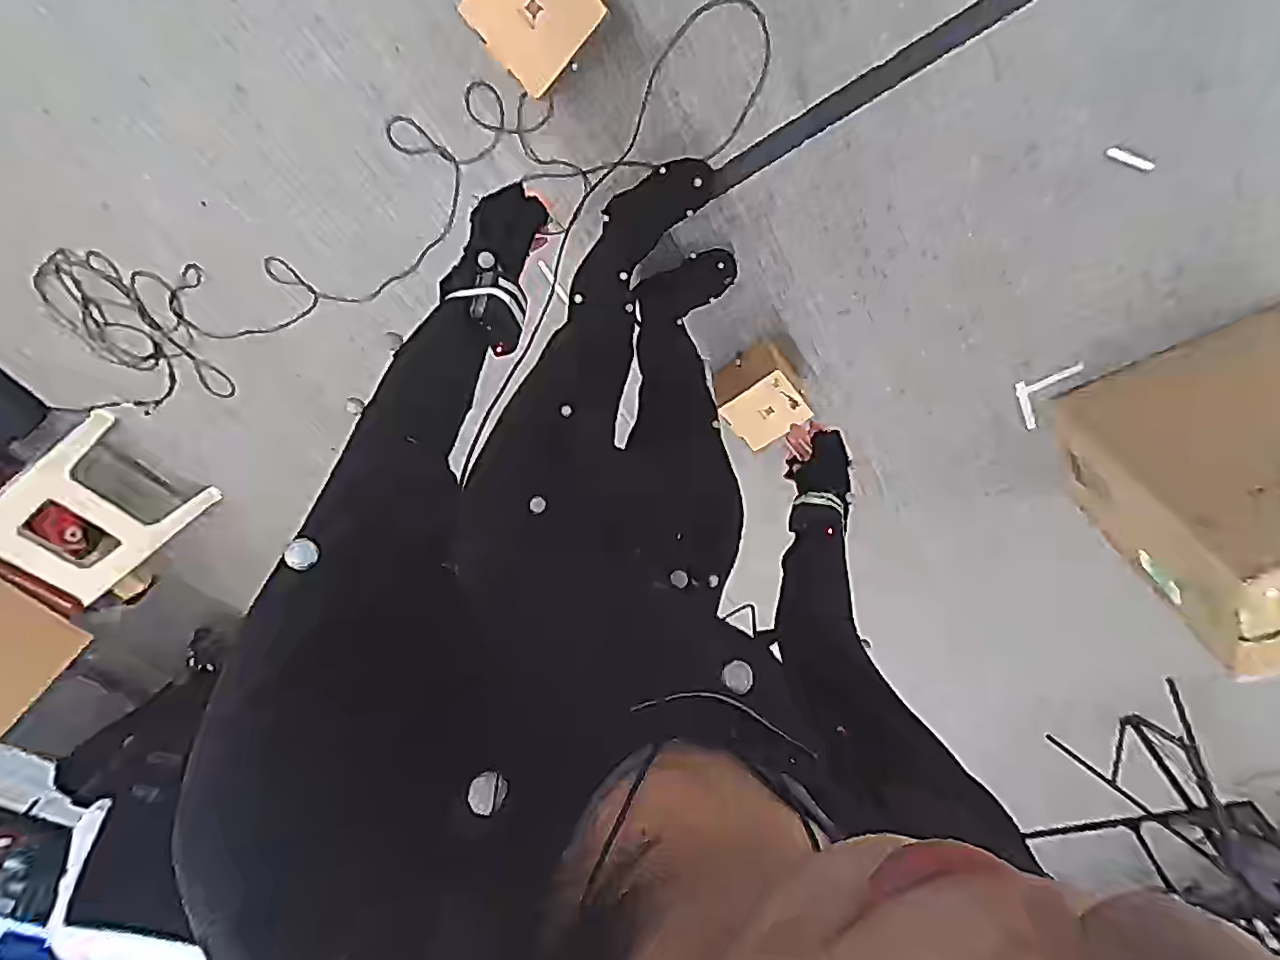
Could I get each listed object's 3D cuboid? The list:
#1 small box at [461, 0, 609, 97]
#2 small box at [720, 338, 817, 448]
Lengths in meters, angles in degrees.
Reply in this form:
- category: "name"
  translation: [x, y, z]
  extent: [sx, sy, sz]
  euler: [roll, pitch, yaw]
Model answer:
- category: "small box"
  translation: [-0.164, -0.787, 0.905]
  extent: [0.179, 0.176, 0.168]
  euler: [-37, 121, 25]
- category: "small box"
  translation: [0.315, -0.220, 1.357]
  extent: [0.179, 0.176, 0.168]
  euler: [-33, 121, 27]
